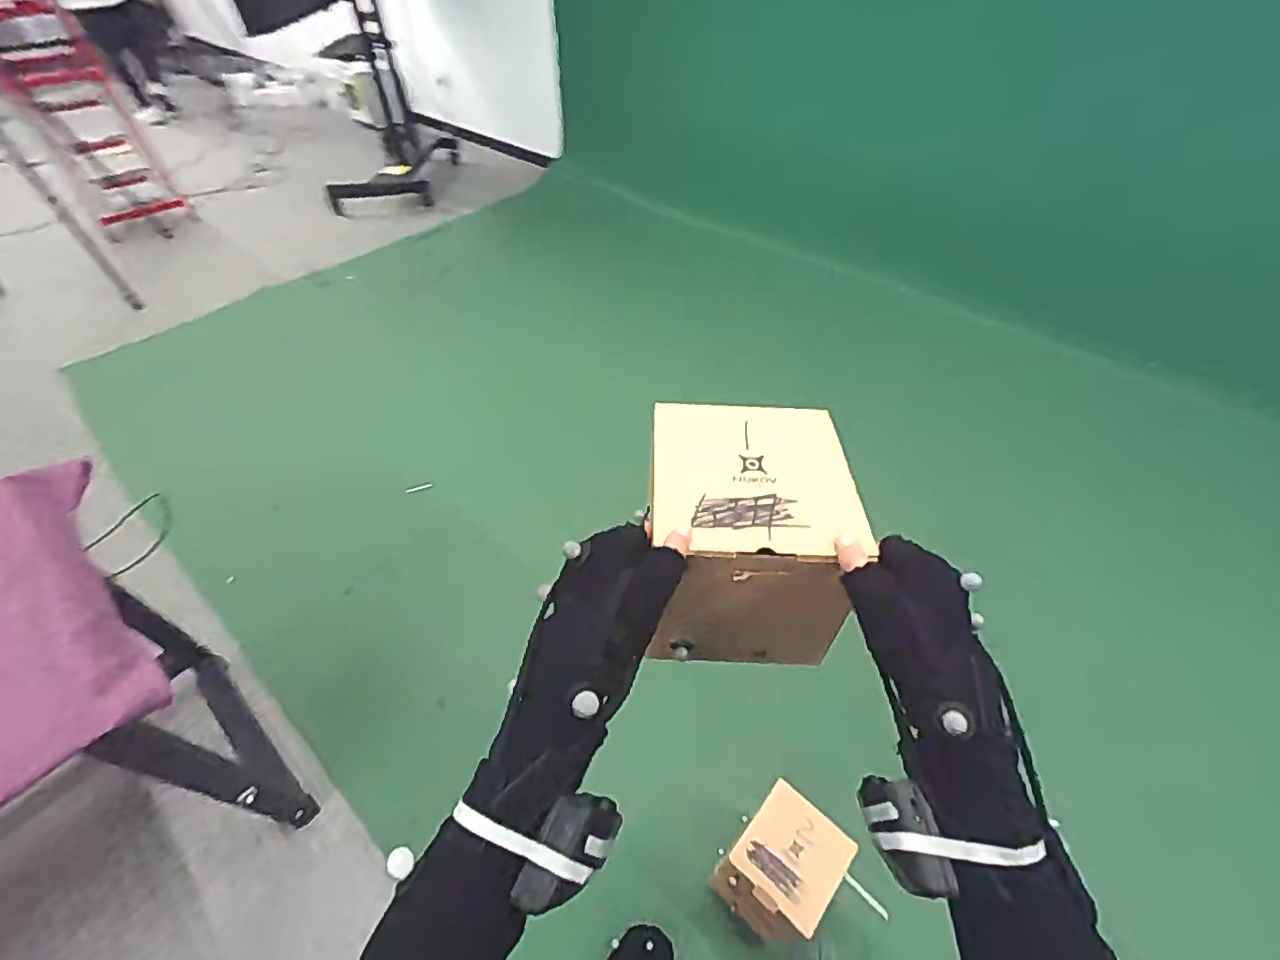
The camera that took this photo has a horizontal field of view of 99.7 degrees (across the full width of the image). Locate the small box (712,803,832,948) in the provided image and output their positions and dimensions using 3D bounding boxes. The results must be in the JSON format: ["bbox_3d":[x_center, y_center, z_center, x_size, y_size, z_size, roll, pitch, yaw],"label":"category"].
[{"bbox_3d":[0.266,0.823,1.130,0.168,0.176,0.179,35,57,27],"label":"small box"}]

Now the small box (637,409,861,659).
[{"bbox_3d":[0.083,0.052,0.509,0.168,0.176,0.179,1,44,-1],"label":"small box"}]
